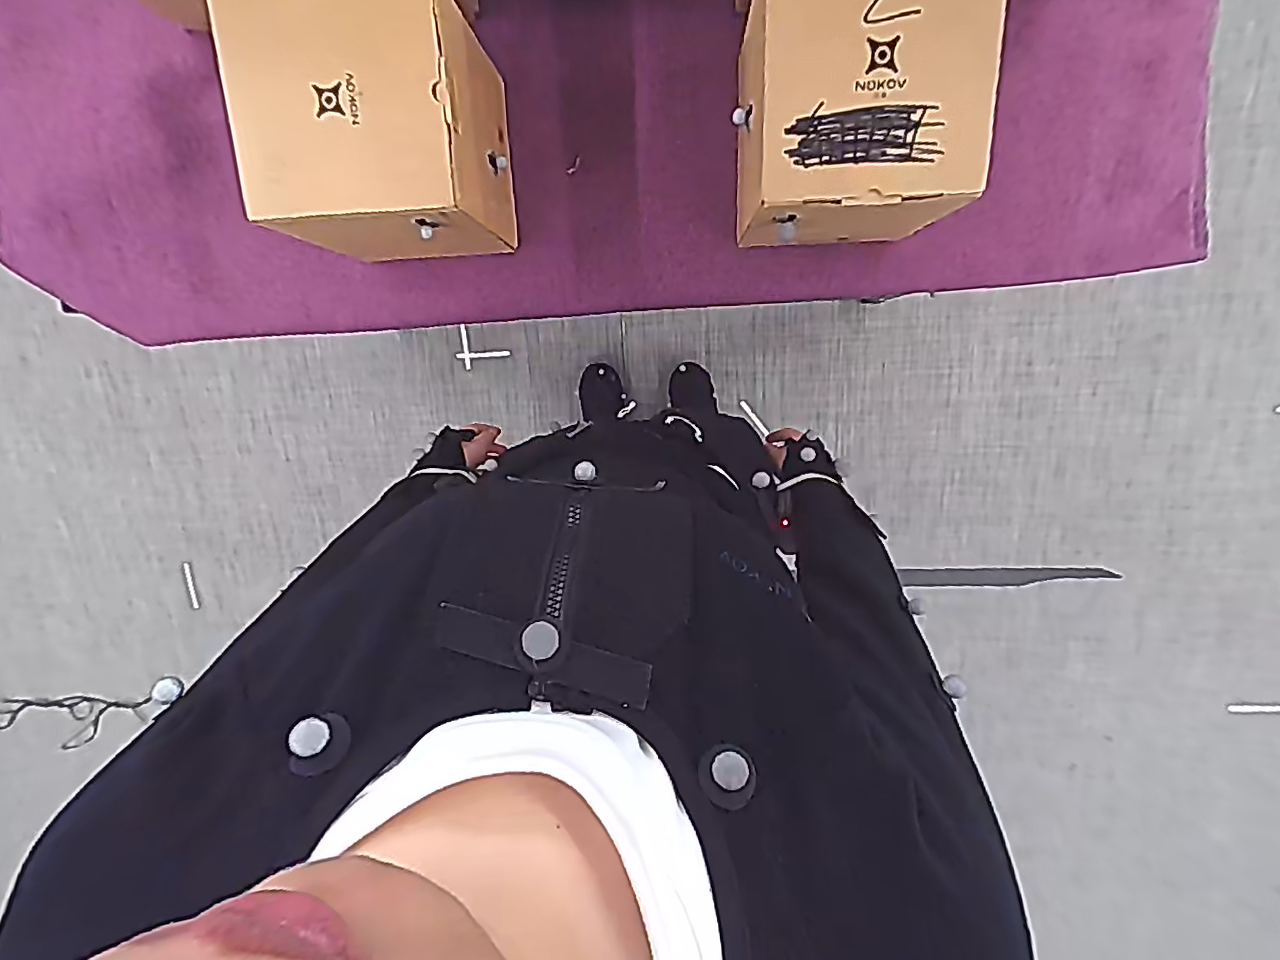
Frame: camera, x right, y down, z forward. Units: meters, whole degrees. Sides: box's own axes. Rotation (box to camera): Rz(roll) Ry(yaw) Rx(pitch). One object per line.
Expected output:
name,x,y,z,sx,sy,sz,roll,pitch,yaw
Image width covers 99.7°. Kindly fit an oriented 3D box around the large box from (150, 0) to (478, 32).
large box,-0.323,-0.616,0.360,0.320,0.320,0.408,0,106,4
